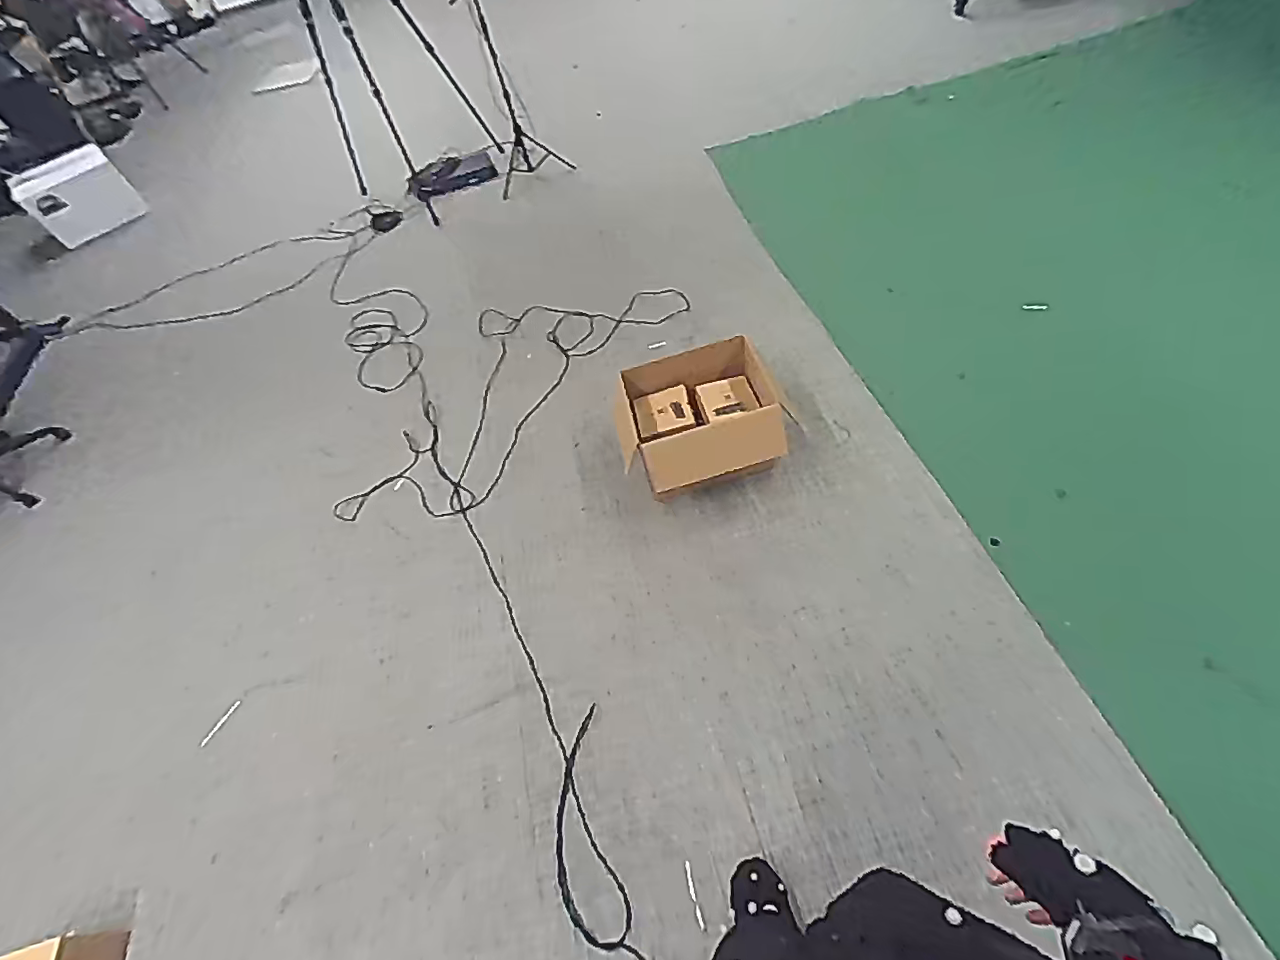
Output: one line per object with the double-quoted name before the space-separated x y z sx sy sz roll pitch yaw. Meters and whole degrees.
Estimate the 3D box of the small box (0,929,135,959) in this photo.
"small box" -1.281 1.127 1.194 0.168 0.176 0.179 -18 56 -1
